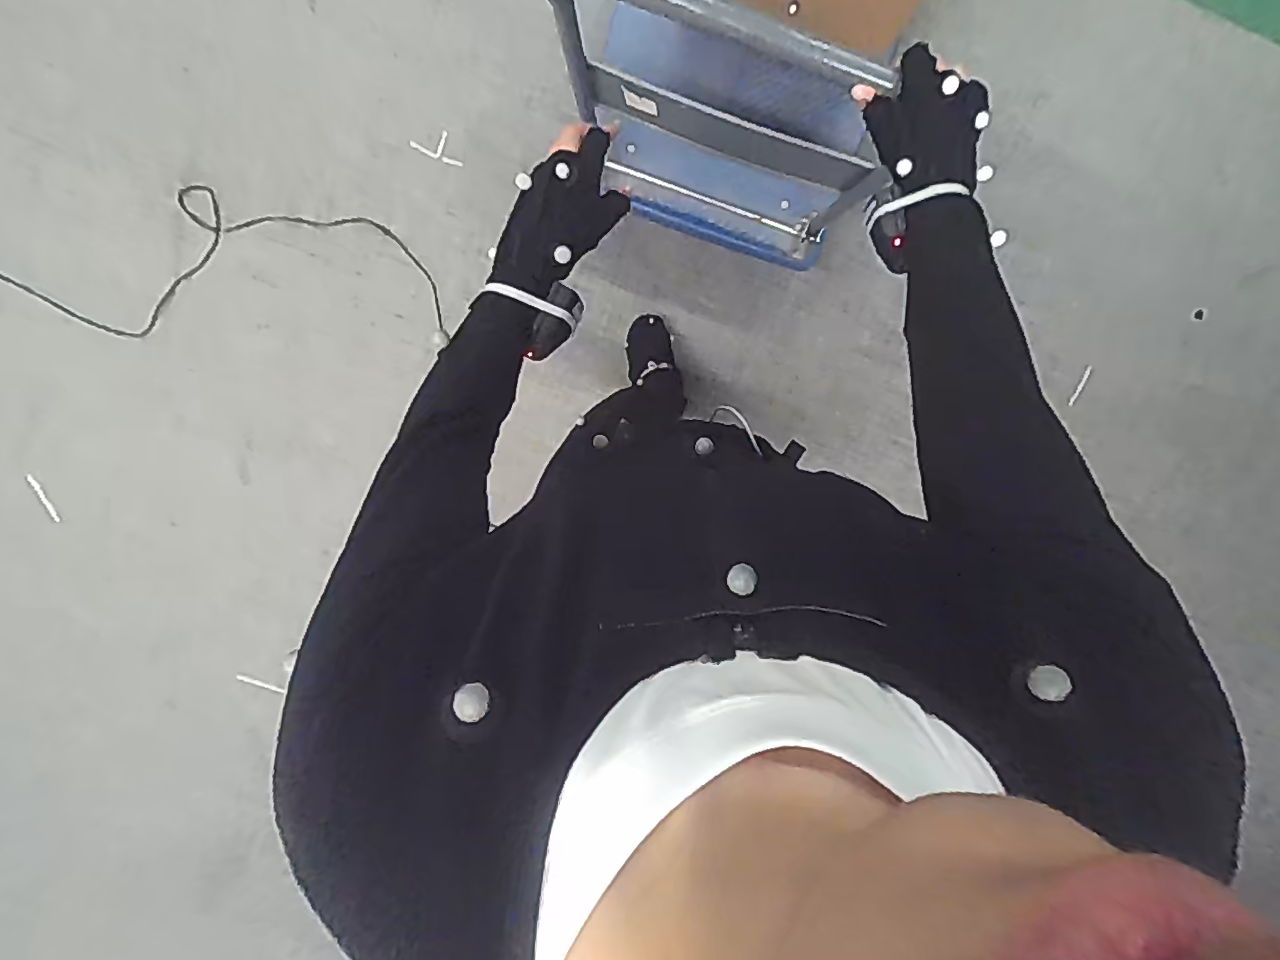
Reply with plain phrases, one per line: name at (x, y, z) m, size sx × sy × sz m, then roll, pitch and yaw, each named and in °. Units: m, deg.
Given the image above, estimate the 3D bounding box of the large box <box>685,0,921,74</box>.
large box at (0.321, -1.009, 0.949) m, size 0.408 × 0.320 × 0.320 m, roll 17°, pitch 99°, yaw -2°
